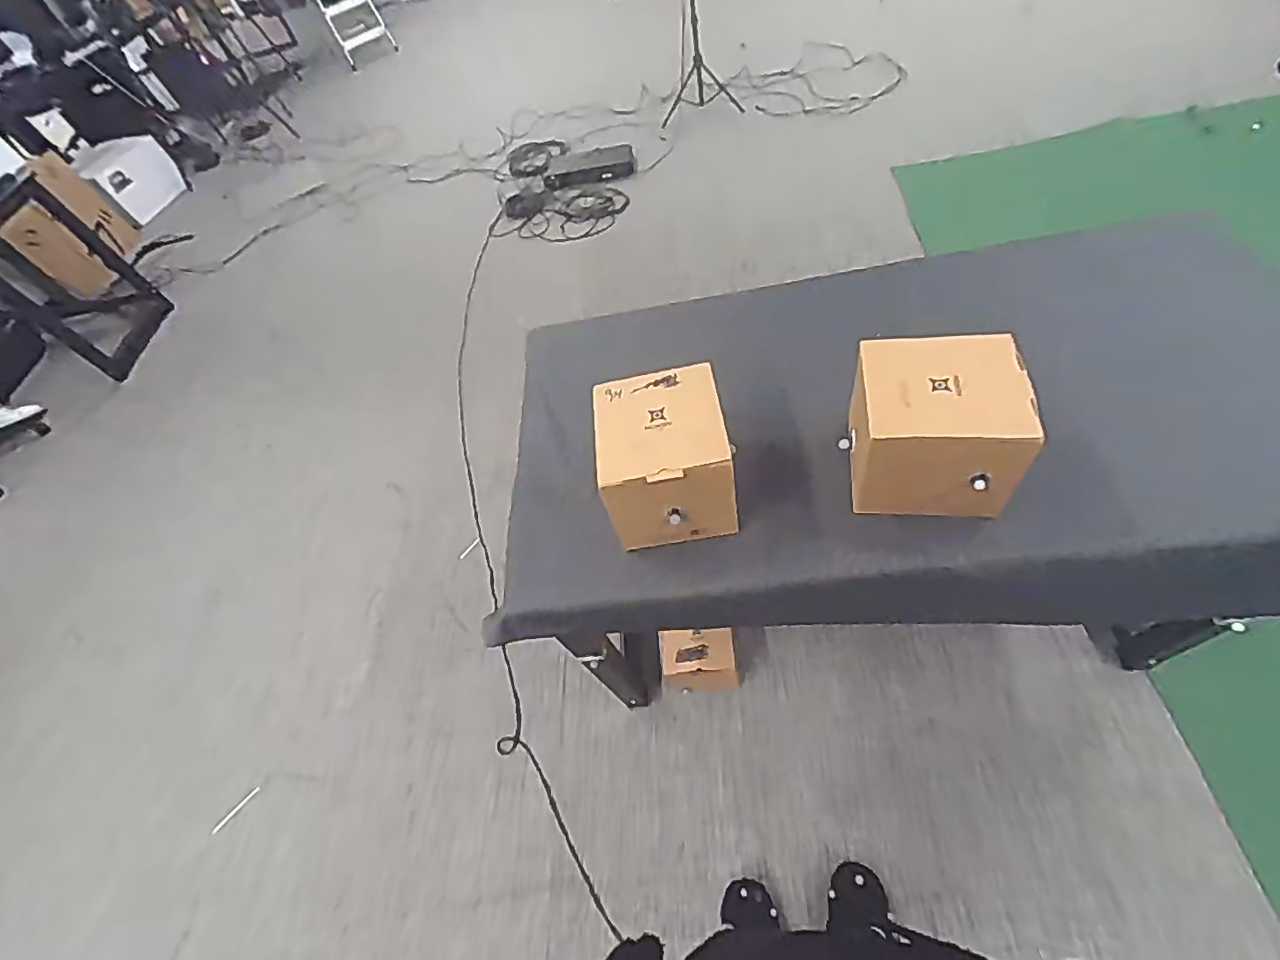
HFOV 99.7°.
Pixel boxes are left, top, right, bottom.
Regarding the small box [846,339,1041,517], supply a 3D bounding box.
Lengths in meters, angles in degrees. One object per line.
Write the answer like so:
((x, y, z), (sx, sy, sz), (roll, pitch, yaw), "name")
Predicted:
((0.375, -0.062, 0.706), (0.179, 0.176, 0.168), (0, 56, 15), "small box")

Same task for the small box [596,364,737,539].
((0.040, -0.029, 0.759), (0.168, 0.176, 0.179), (-10, 55, 6), "small box")
